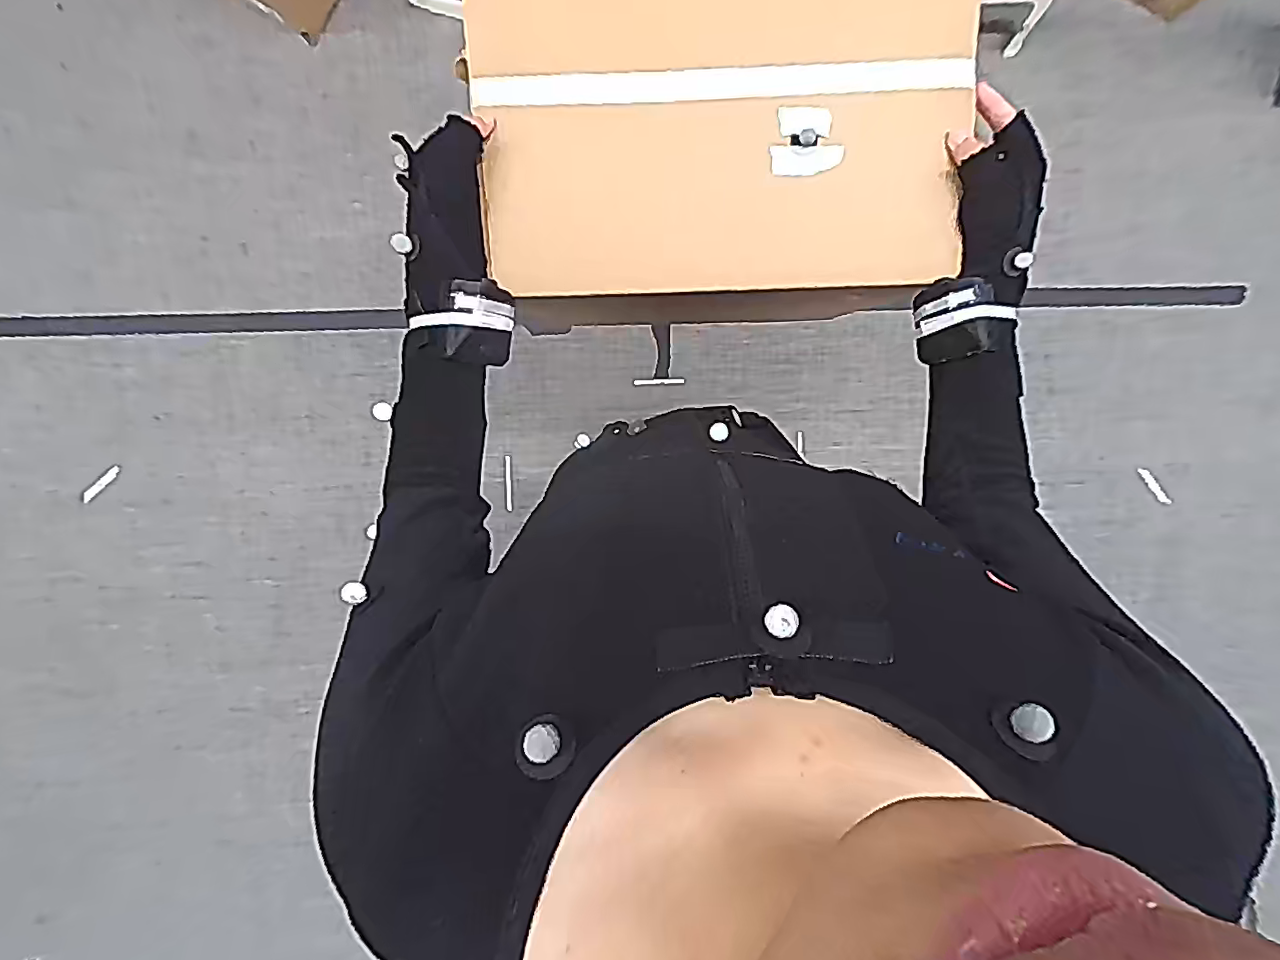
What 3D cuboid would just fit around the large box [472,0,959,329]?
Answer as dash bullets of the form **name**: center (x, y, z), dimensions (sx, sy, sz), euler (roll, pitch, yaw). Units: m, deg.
- **large box**: center (0.062, -0.349, 0.601), dimensions (0.408, 0.320, 0.320), euler (-2, 101, 0)
